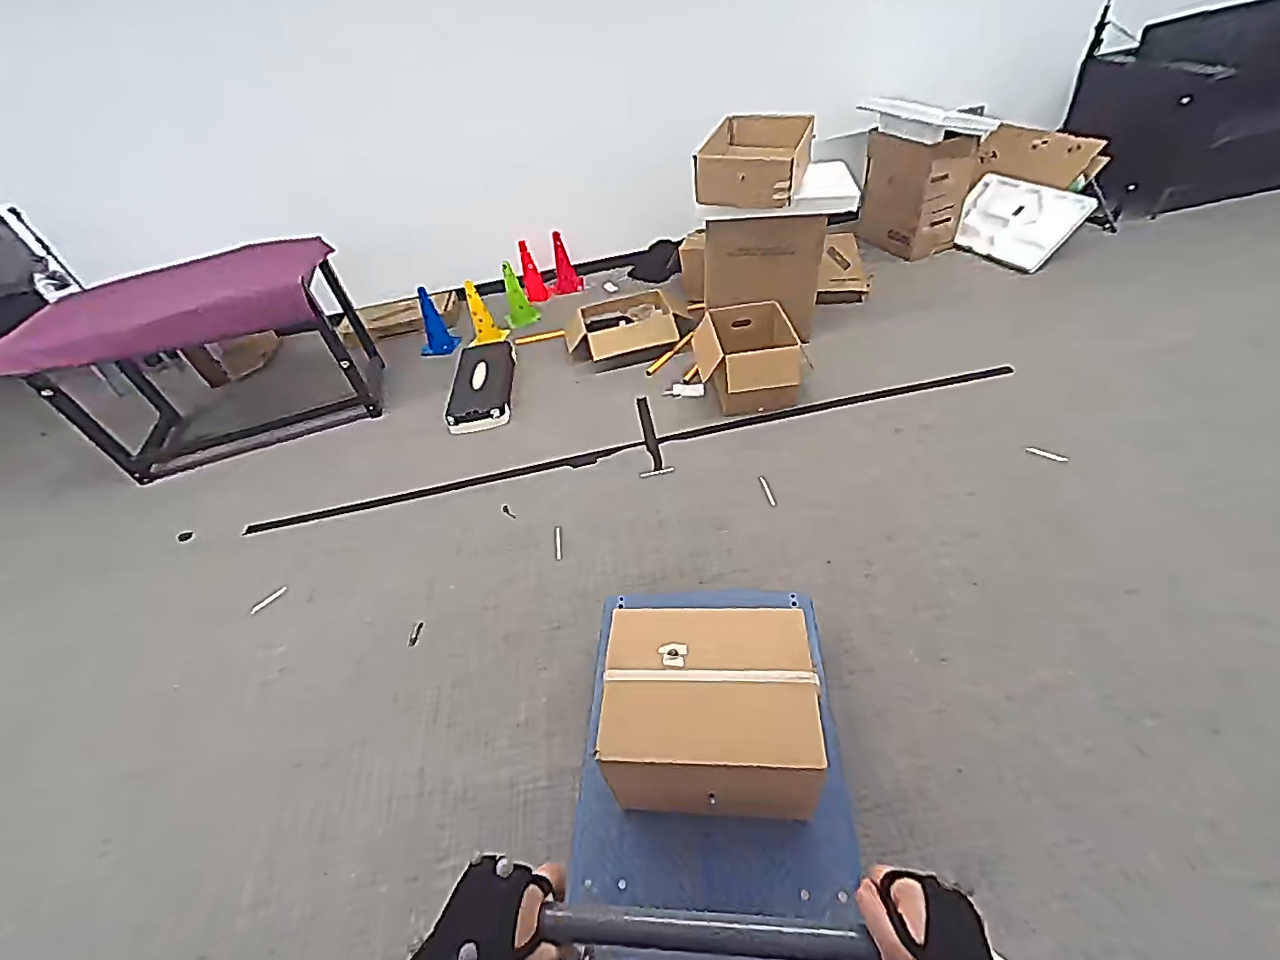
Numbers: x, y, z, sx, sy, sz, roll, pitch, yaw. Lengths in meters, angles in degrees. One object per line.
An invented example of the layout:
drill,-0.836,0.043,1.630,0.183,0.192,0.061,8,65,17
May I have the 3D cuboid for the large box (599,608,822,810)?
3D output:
large box,0.152,0.498,1.169,0.408,0.320,0.320,-3,43,9
